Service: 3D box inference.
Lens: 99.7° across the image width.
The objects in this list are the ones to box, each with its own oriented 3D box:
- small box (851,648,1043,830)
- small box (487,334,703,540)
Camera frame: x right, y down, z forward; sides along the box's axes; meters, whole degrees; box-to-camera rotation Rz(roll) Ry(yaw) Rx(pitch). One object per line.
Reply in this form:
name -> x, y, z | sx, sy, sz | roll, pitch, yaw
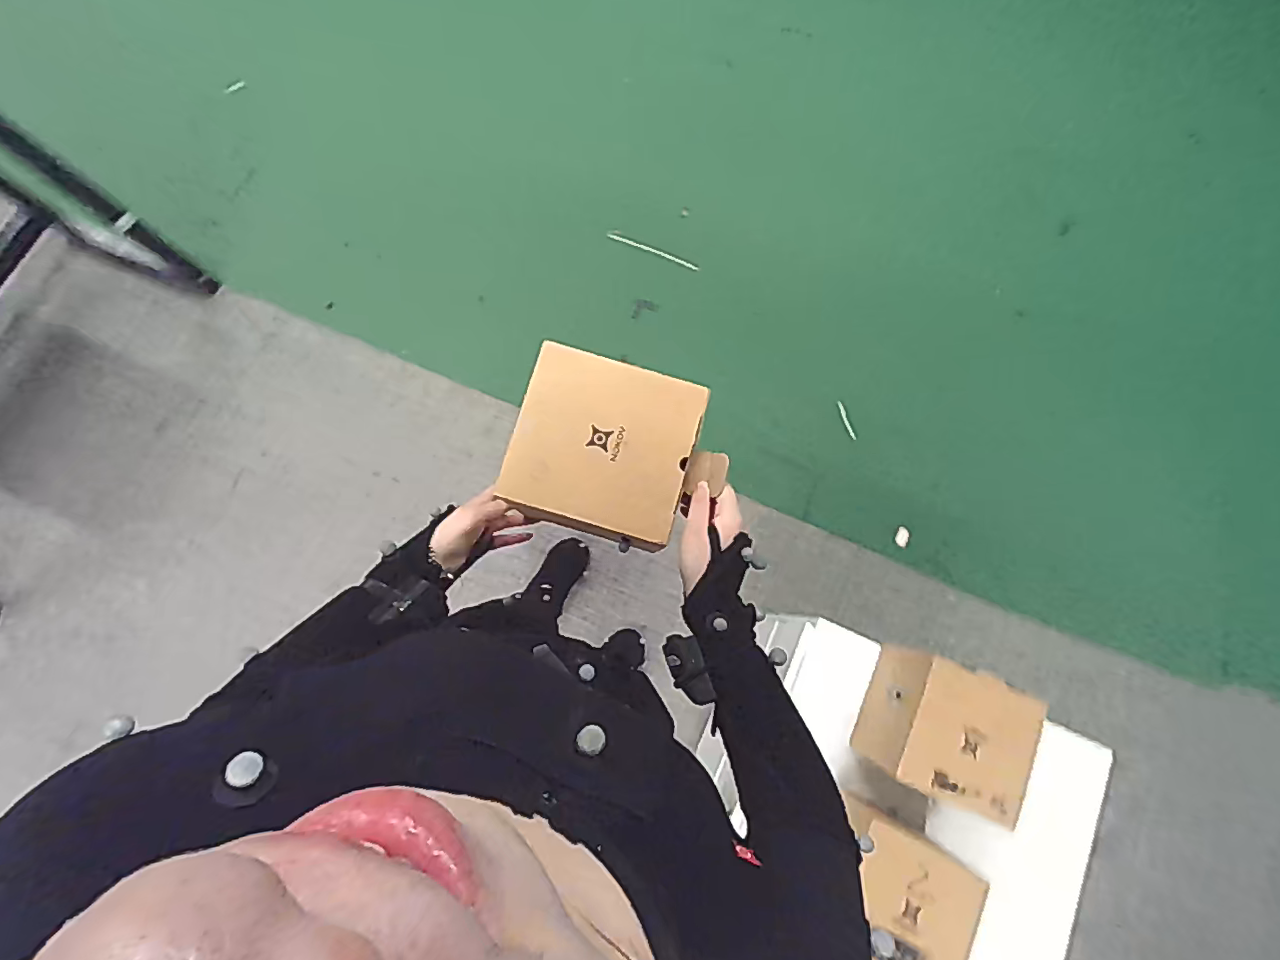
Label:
small box -> 0.441, 0.366, 0.804 | 0.168, 0.176, 0.179 | 24, 78, 5
small box -> -0.046, -0.033, 0.603 | 0.179, 0.176, 0.168 | 16, 80, -2
